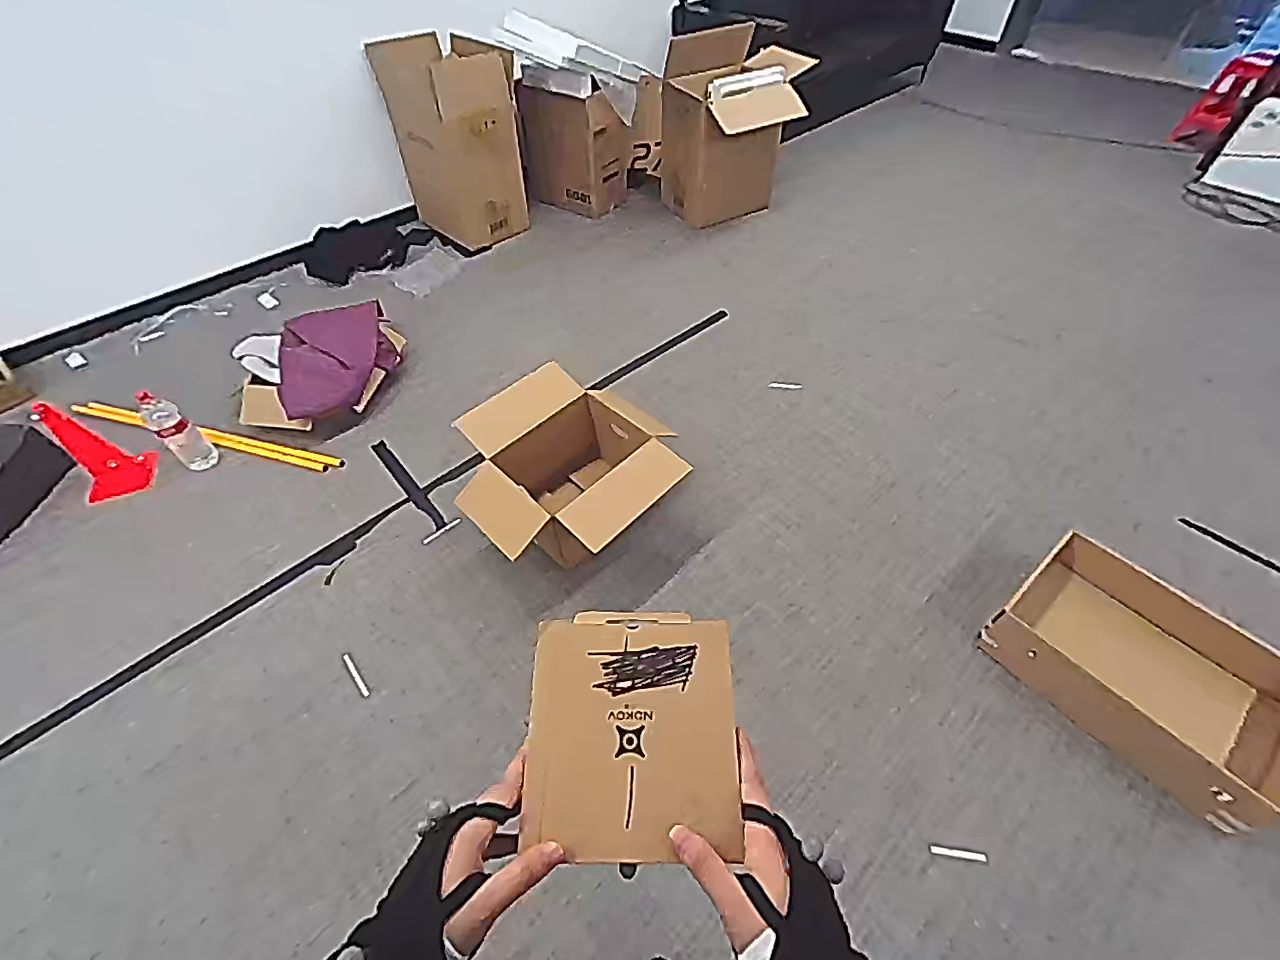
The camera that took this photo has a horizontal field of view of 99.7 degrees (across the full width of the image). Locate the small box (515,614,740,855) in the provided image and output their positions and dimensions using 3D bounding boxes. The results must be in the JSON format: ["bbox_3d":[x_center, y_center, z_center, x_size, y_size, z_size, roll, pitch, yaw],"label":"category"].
[{"bbox_3d":[-0.007,0.235,0.499,0.168,0.176,0.179,0,59,1],"label":"small box"}]
